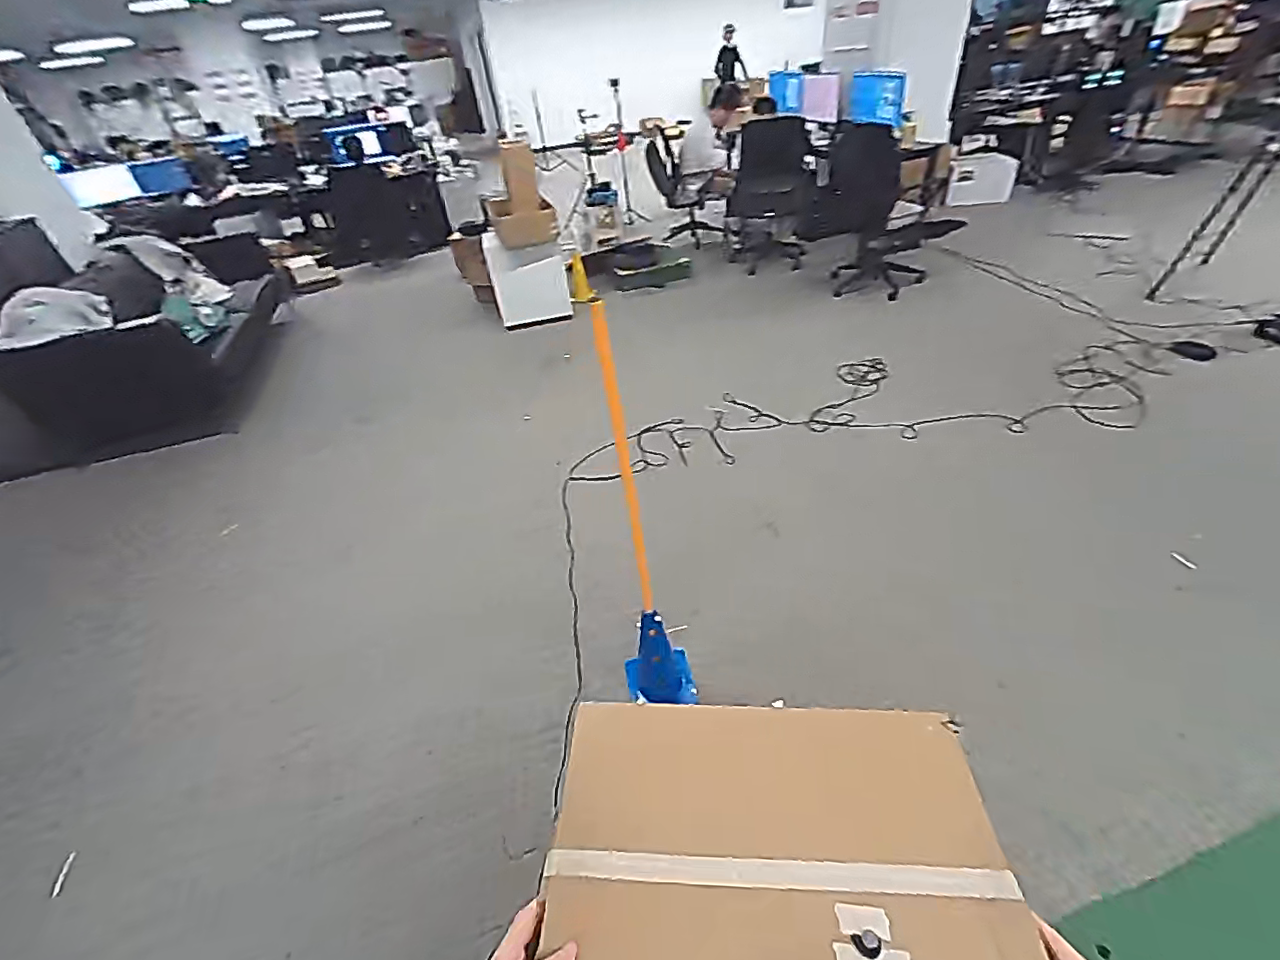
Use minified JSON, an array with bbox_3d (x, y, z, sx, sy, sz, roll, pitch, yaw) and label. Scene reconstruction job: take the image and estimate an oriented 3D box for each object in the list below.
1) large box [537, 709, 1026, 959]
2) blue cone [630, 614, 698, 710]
[{"bbox_3d":[0.119,0.471,0.577,0.408,0.320,0.320,0,38,4],"label":"large box"},{"bbox_3d":[0.052,0.510,1.567,0.193,0.380,0.192,-10,39,-3],"label":"blue cone"}]
